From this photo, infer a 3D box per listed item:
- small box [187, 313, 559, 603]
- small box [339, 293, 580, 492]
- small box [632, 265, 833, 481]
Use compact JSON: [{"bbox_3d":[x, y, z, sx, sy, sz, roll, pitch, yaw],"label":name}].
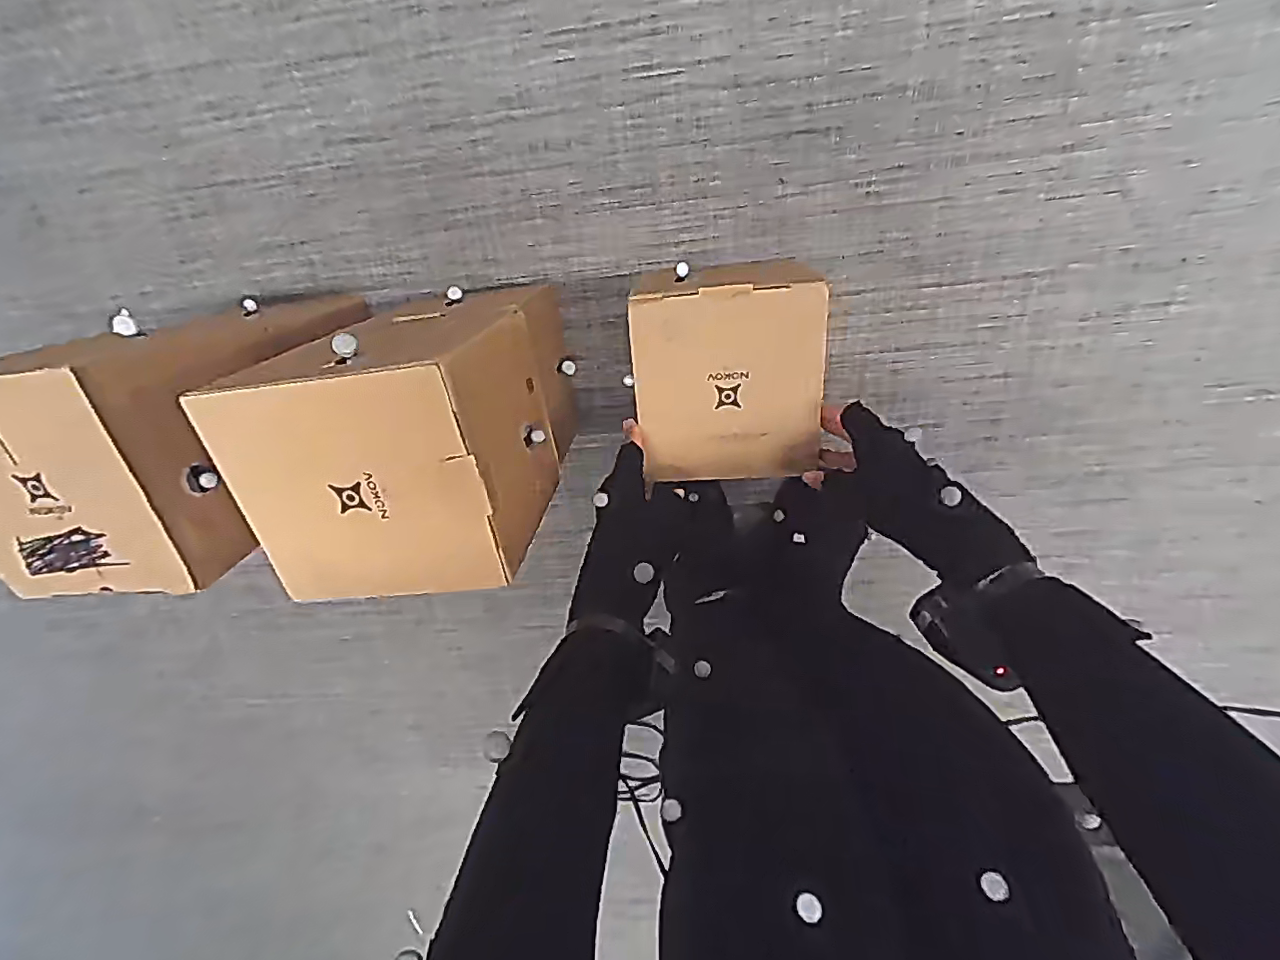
[{"bbox_3d":[-0.178,-0.025,0.427,0.179,0.176,0.168,-6,118,8],"label":"small box"},{"bbox_3d":[-0.170,-0.095,0.573,0.168,0.176,0.179,-4,117,9],"label":"small box"},{"bbox_3d":[0.084,-0.115,0.543,0.168,0.176,0.179,-2,118,7],"label":"small box"}]
